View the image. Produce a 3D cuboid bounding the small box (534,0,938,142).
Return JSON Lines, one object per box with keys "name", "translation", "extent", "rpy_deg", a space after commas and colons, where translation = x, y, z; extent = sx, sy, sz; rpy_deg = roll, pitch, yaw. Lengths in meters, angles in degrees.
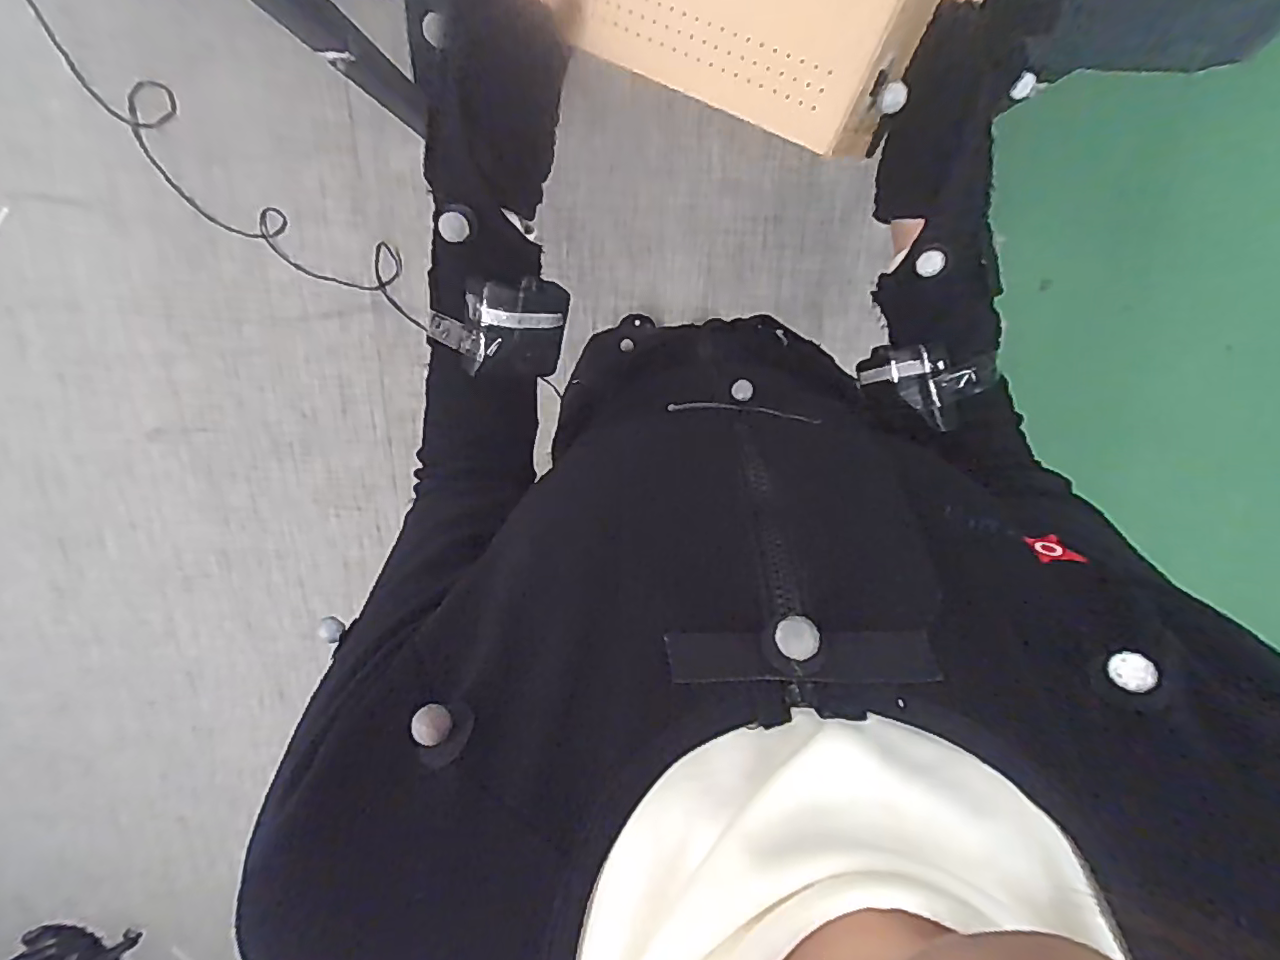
{"name": "small box", "translation": [0.071, -0.293, 0.274], "extent": [0.179, 0.168, 0.176], "rpy_deg": [30, 128, 11]}
